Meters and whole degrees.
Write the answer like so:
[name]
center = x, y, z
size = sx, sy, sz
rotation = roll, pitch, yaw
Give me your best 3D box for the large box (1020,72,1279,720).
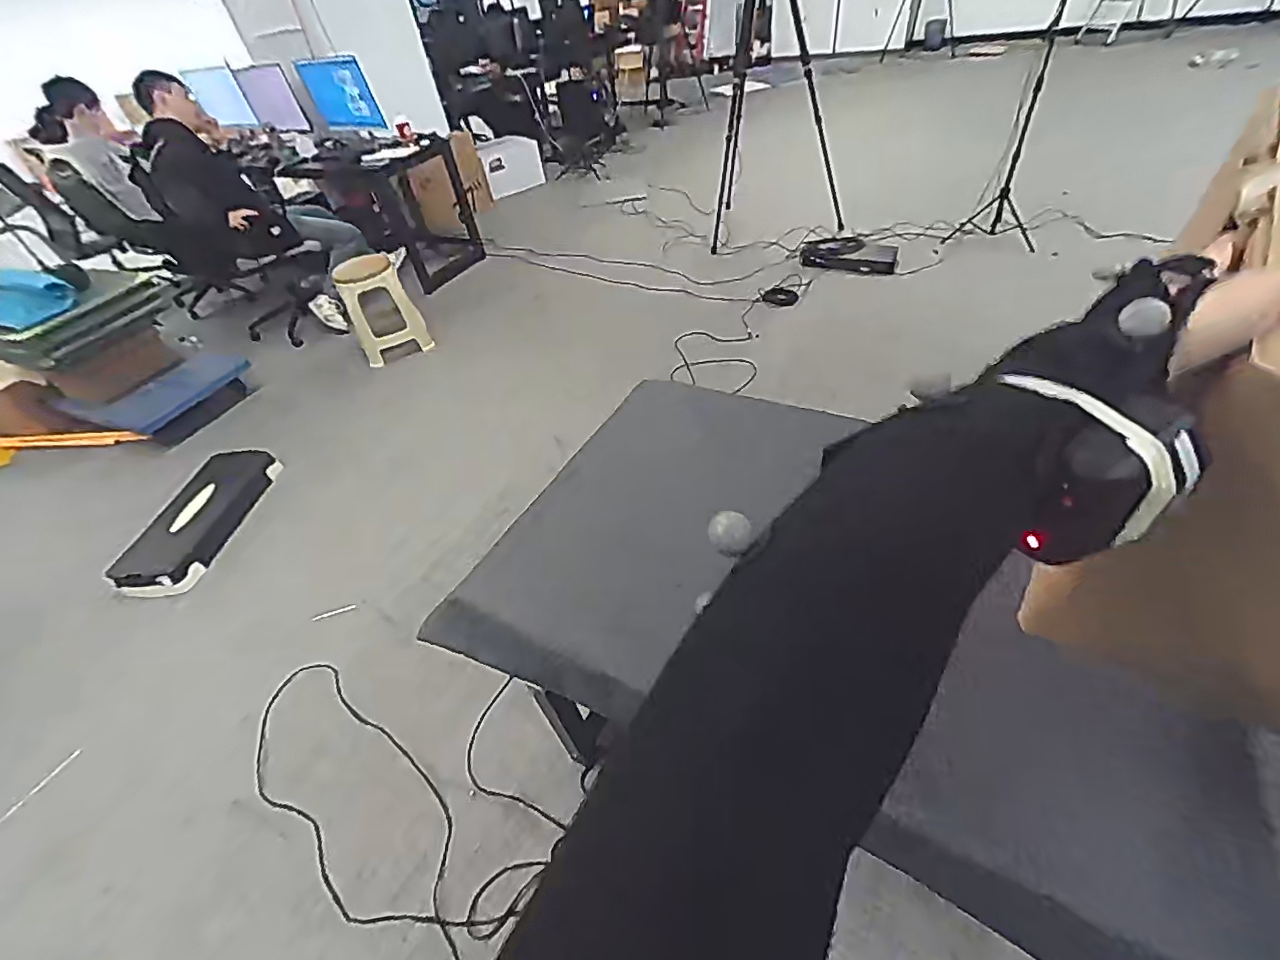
[large box]
center = 0.537, -0.014, 0.328
size = 0.408, 0.320, 0.320
rotation = 23, 63, 27
